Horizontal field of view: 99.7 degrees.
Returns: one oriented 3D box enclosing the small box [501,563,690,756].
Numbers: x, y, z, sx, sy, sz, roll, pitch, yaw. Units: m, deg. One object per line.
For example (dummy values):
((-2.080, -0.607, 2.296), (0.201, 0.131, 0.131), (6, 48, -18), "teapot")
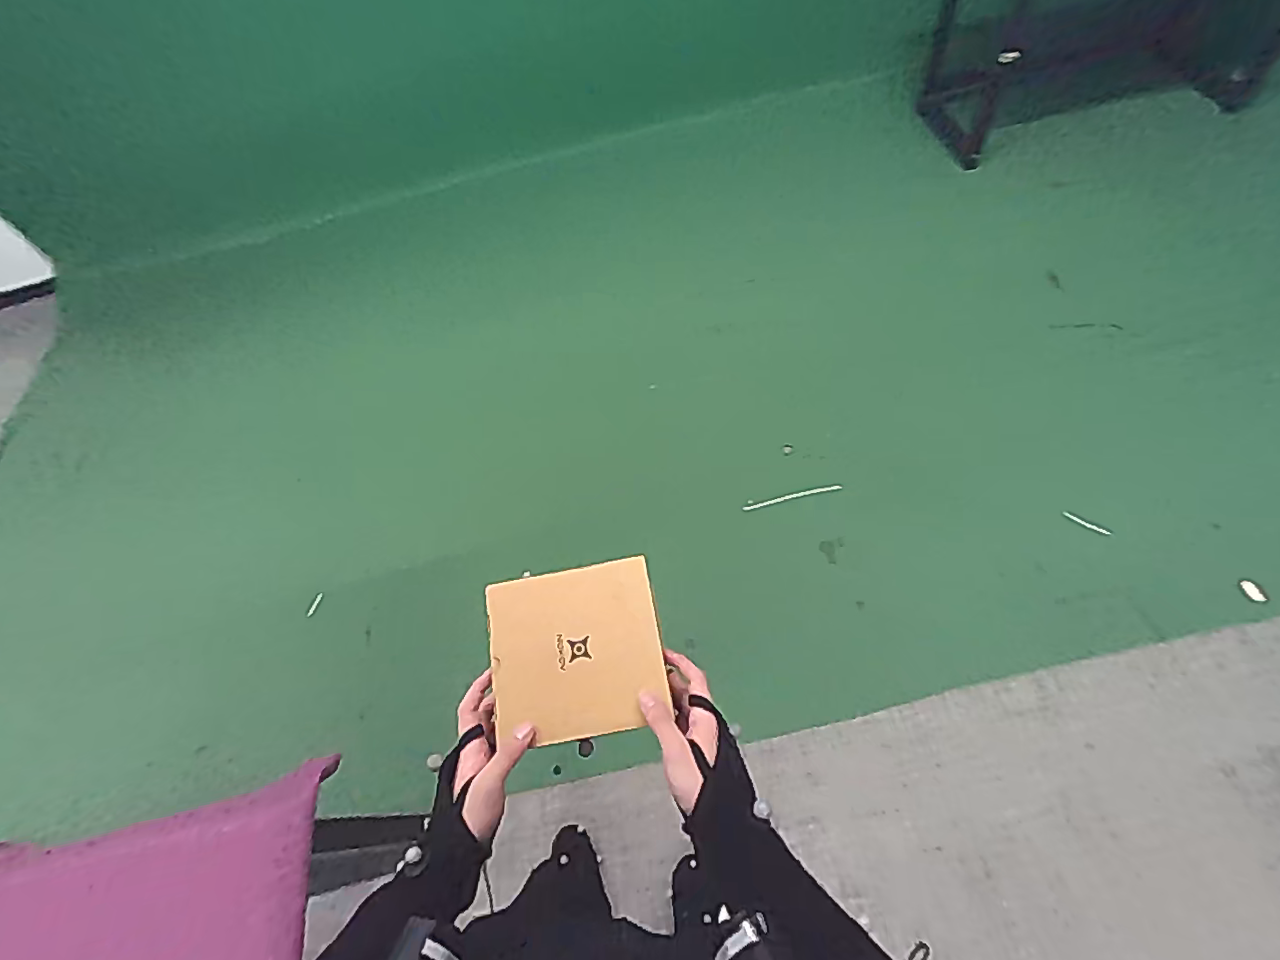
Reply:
((-0.045, 0.203, 0.614), (0.179, 0.176, 0.168), (-10, 67, 1), "small box")
